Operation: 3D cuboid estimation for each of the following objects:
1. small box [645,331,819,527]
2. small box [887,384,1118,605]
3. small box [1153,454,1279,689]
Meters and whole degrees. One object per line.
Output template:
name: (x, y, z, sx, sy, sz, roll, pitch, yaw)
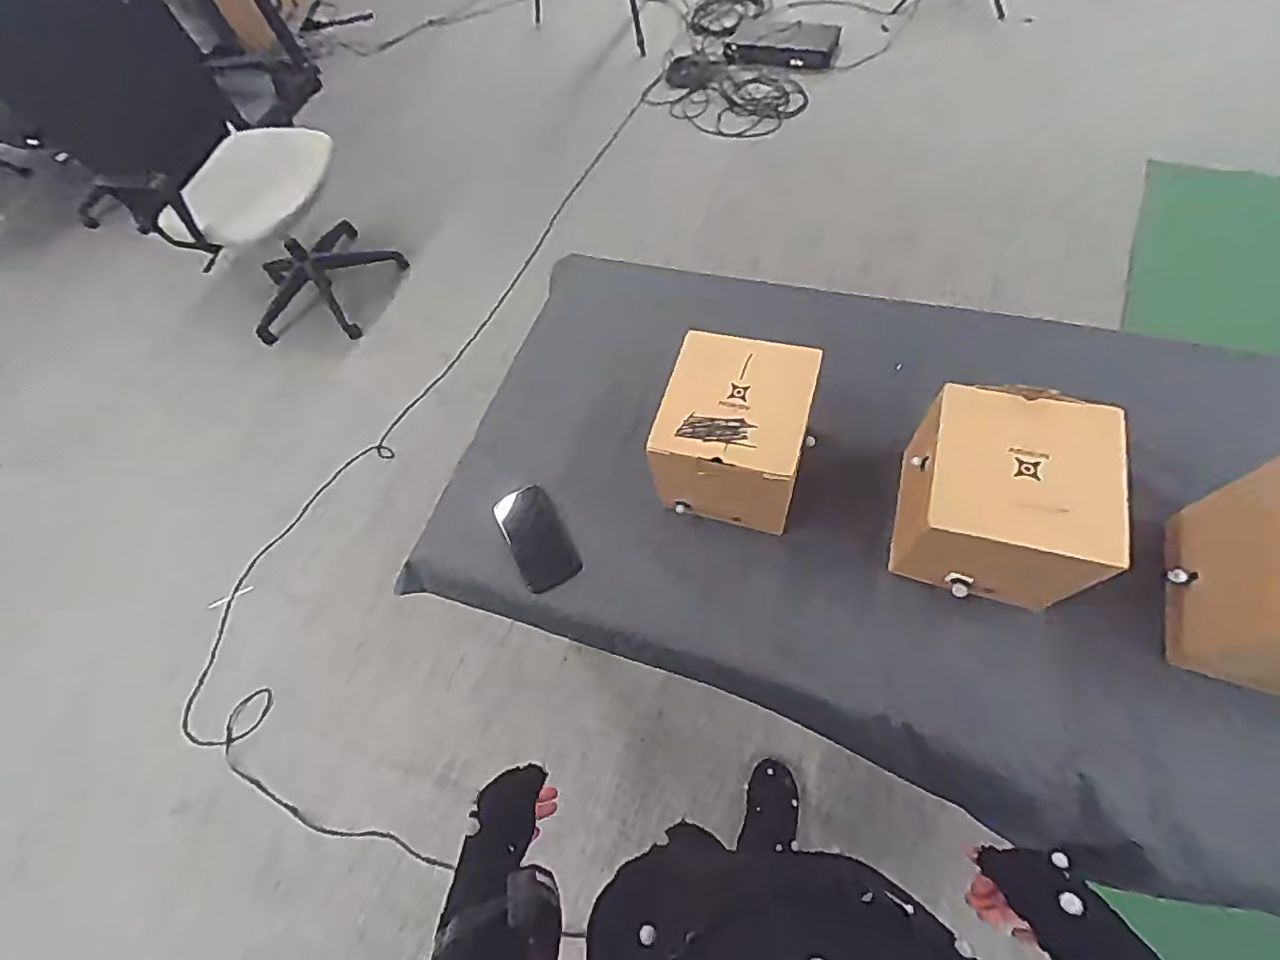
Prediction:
small box: (0.119, -0.058, 0.691, 0.168, 0.176, 0.179, 14, 66, 15)
small box: (0.391, 0.022, 0.610, 0.168, 0.176, 0.179, 12, 67, 16)
small box: (0.648, 0.104, 0.522, 0.168, 0.176, 0.179, 16, 68, 16)
